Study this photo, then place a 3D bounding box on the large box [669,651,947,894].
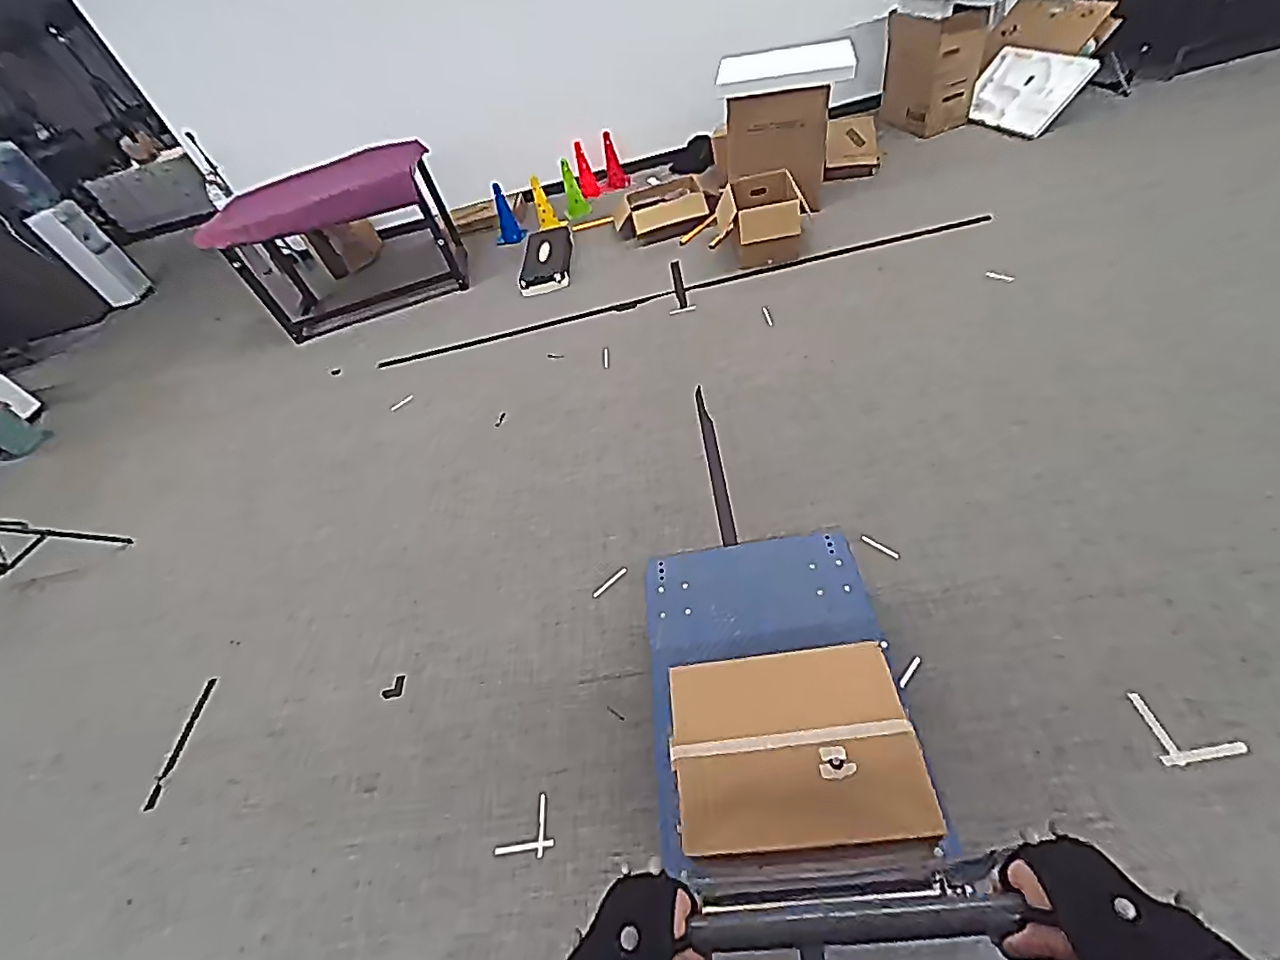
[{"bbox_3d":[0.286,0.563,1.029,0.408,0.320,0.320,-10,47,7],"label":"large box"}]
